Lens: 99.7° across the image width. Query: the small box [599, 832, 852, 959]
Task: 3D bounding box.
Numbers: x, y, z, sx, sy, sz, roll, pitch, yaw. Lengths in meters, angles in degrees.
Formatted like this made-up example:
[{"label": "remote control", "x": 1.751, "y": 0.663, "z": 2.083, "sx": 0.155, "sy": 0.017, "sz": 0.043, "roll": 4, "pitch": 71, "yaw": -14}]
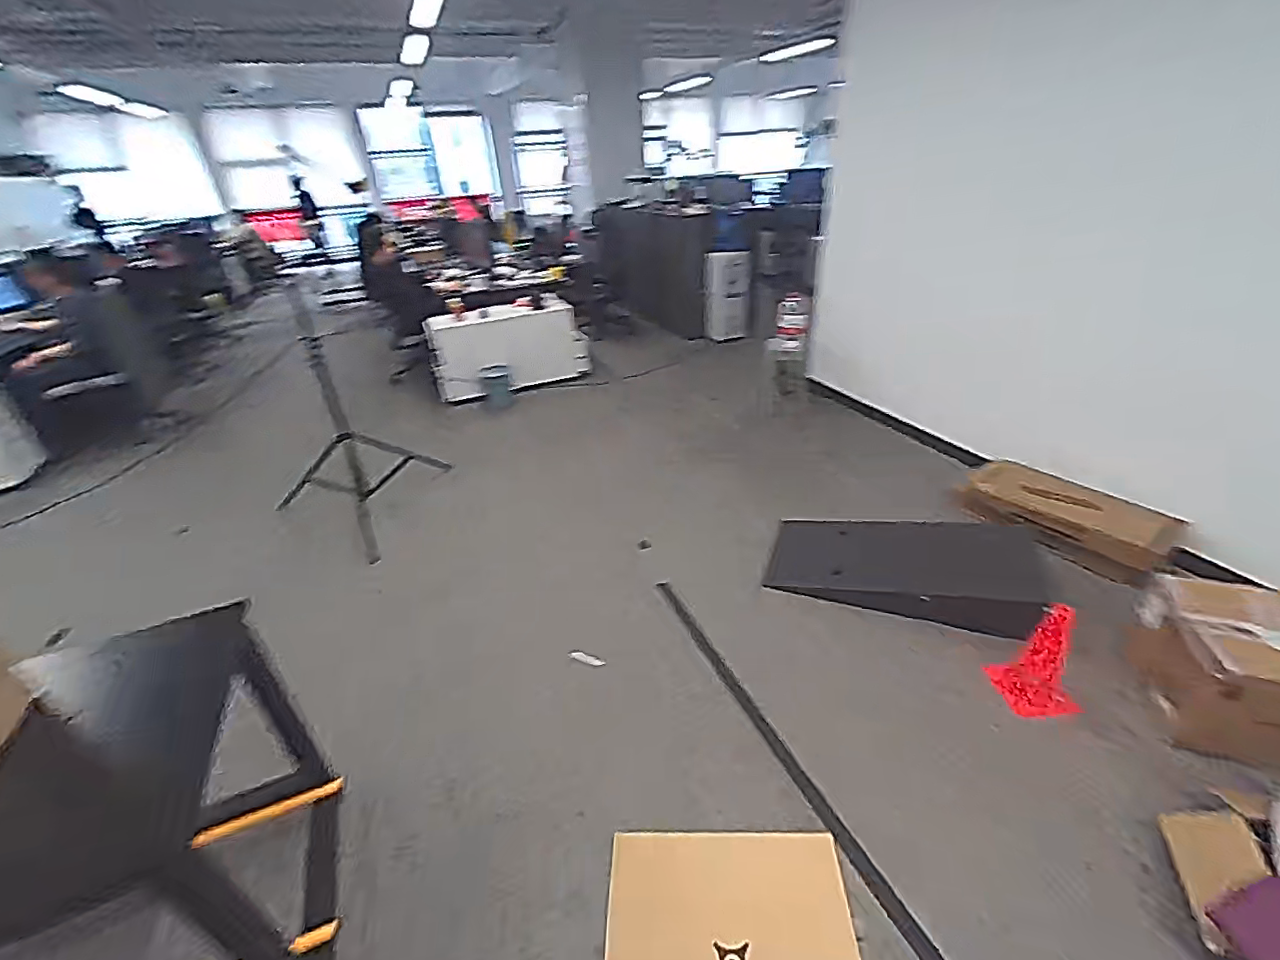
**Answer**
[{"label": "small box", "x": 0.061, "y": 0.382, "z": 0.379, "sx": 0.168, "sy": 0.176, "sz": 0.179, "roll": -5, "pitch": 32, "yaw": 5}]
